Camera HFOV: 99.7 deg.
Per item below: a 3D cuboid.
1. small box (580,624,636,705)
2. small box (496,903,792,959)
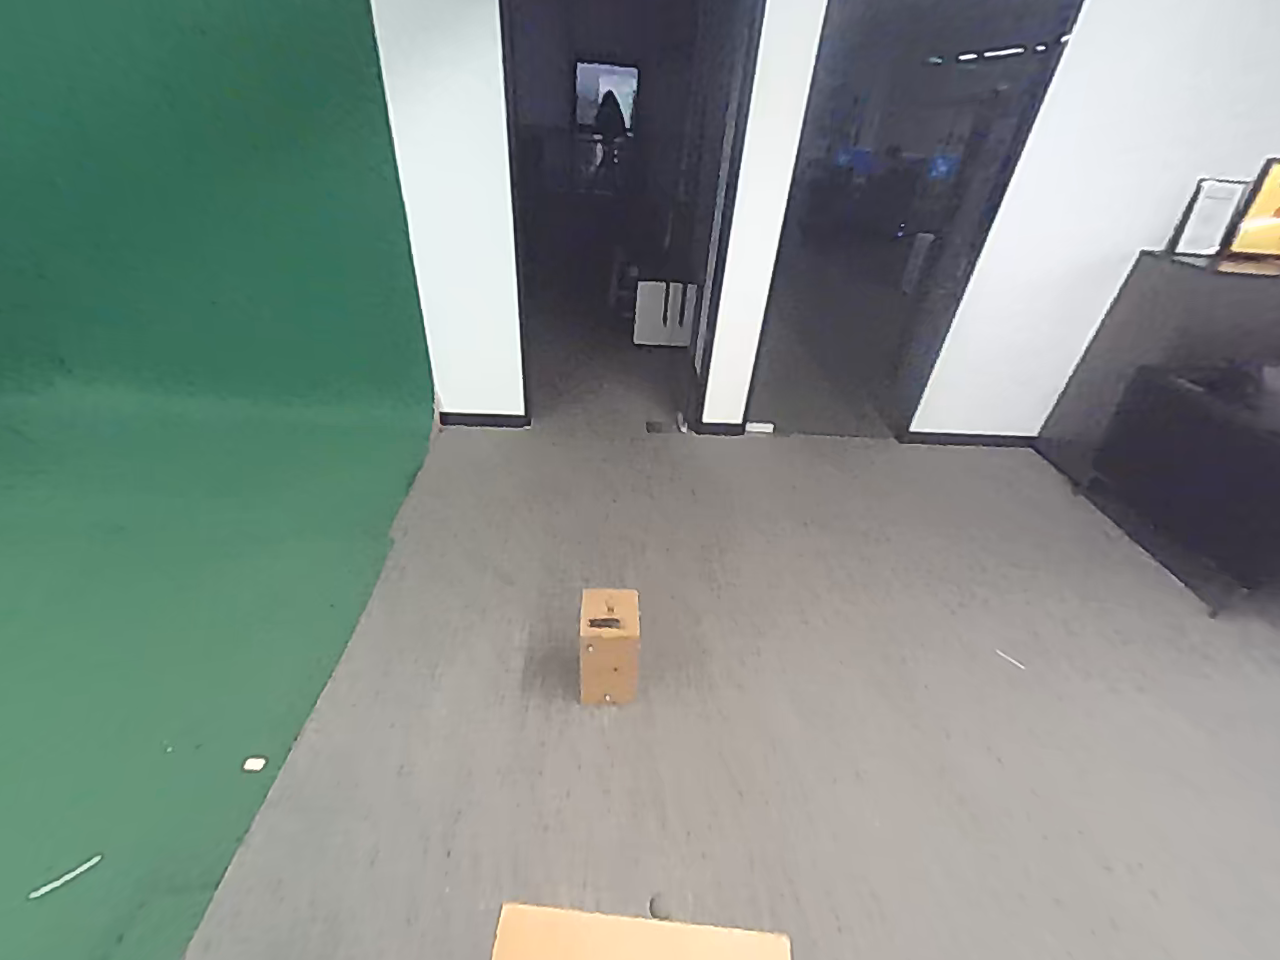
[{"bbox_3d":[-0.099,0.571,1.678,0.168,0.176,0.179,2,36,-3],"label":"small box"},{"bbox_3d":[-0.015,0.365,0.314,0.168,0.176,0.179,11,52,-6],"label":"small box"}]
